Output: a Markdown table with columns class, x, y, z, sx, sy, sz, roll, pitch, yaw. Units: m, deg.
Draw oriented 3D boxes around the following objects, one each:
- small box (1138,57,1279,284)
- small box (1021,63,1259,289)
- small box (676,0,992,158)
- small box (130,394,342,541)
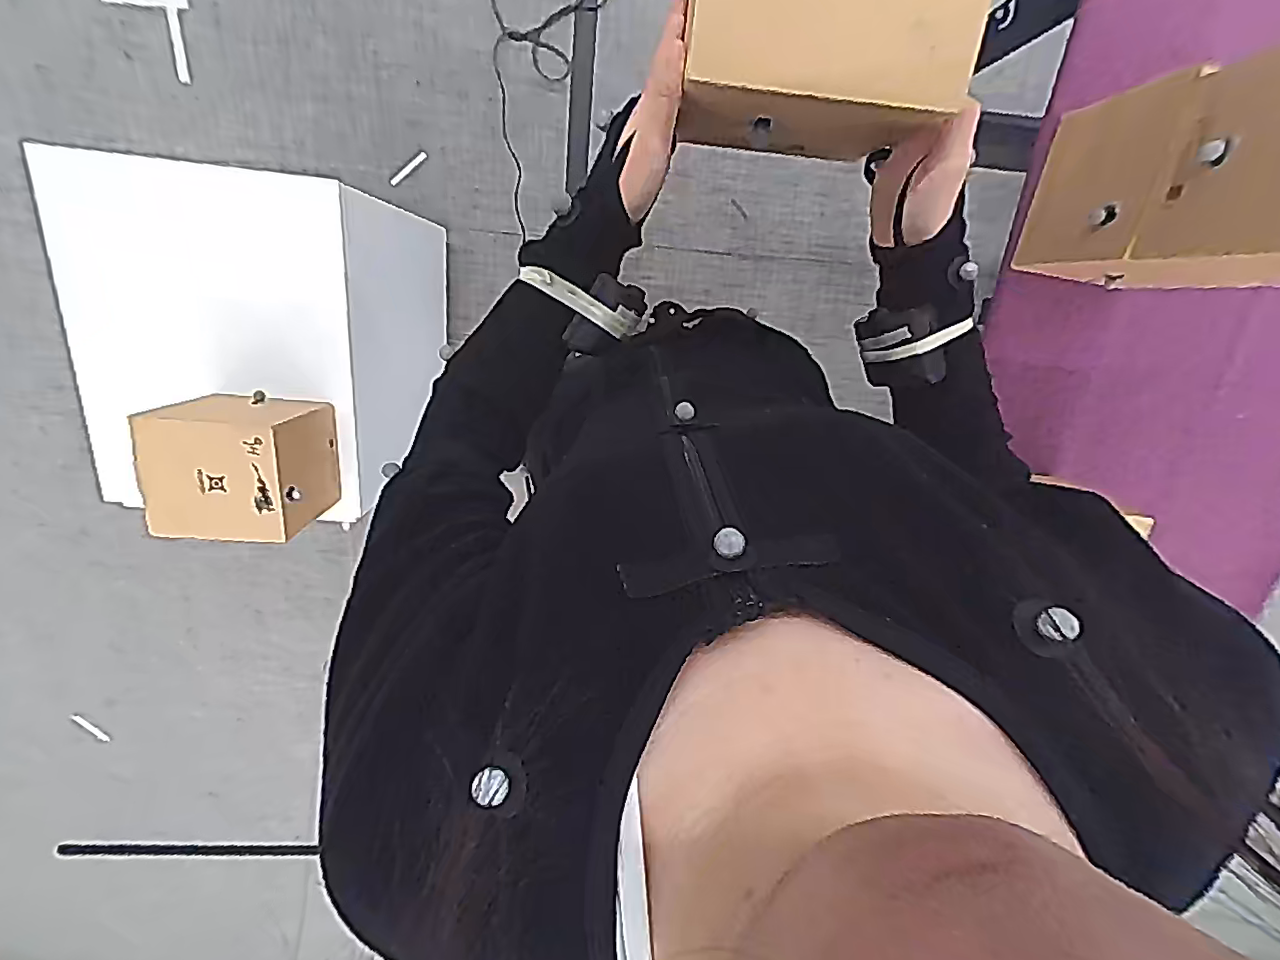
| class | x | y | z | sx | sy | sz | roll | pitch | yaw |
| --- | --- | --- | --- | --- | --- | --- | --- | --- | --- |
| small box | 0.601 | -0.262 | 0.457 | 0.179 | 0.176 | 0.168 | 7 | 108 | -6 |
| small box | 0.582 | -0.320 | 0.610 | 0.168 | 0.176 | 0.179 | 7 | 108 | -7 |
| small box | 0.116 | -0.331 | 0.356 | 0.168 | 0.176 | 0.179 | 5 | 110 | -2 |
| small box | -0.559 | -0.026 | 0.775 | 0.179 | 0.176 | 0.168 | 4 | 108 | -4 |
